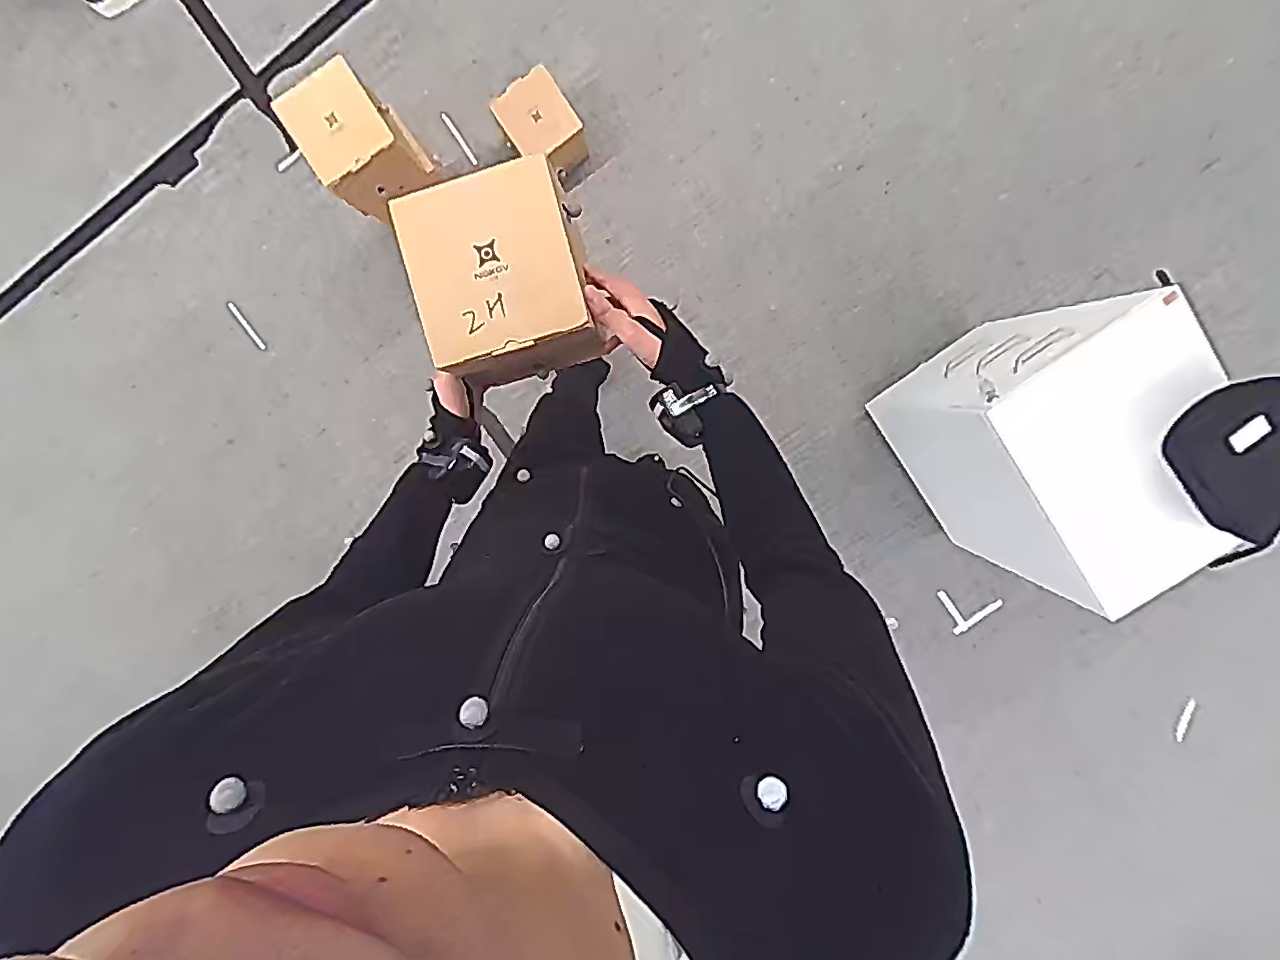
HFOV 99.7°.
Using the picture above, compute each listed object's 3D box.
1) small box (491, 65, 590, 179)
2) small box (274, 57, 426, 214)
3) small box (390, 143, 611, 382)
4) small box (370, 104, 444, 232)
[{"bbox_3d":[-0.246,-0.890,1.386,0.168,0.176,0.179,-35,98,6],"label":"small box"},{"bbox_3d":[-0.568,-0.675,1.085,0.168,0.176,0.179,-32,98,4],"label":"small box"},{"bbox_3d":[-0.139,-0.221,0.601,0.168,0.176,0.179,-15,92,6],"label":"small box"},{"bbox_3d":[-0.557,-0.700,1.245,0.179,0.176,0.168,-34,97,4],"label":"small box"}]
